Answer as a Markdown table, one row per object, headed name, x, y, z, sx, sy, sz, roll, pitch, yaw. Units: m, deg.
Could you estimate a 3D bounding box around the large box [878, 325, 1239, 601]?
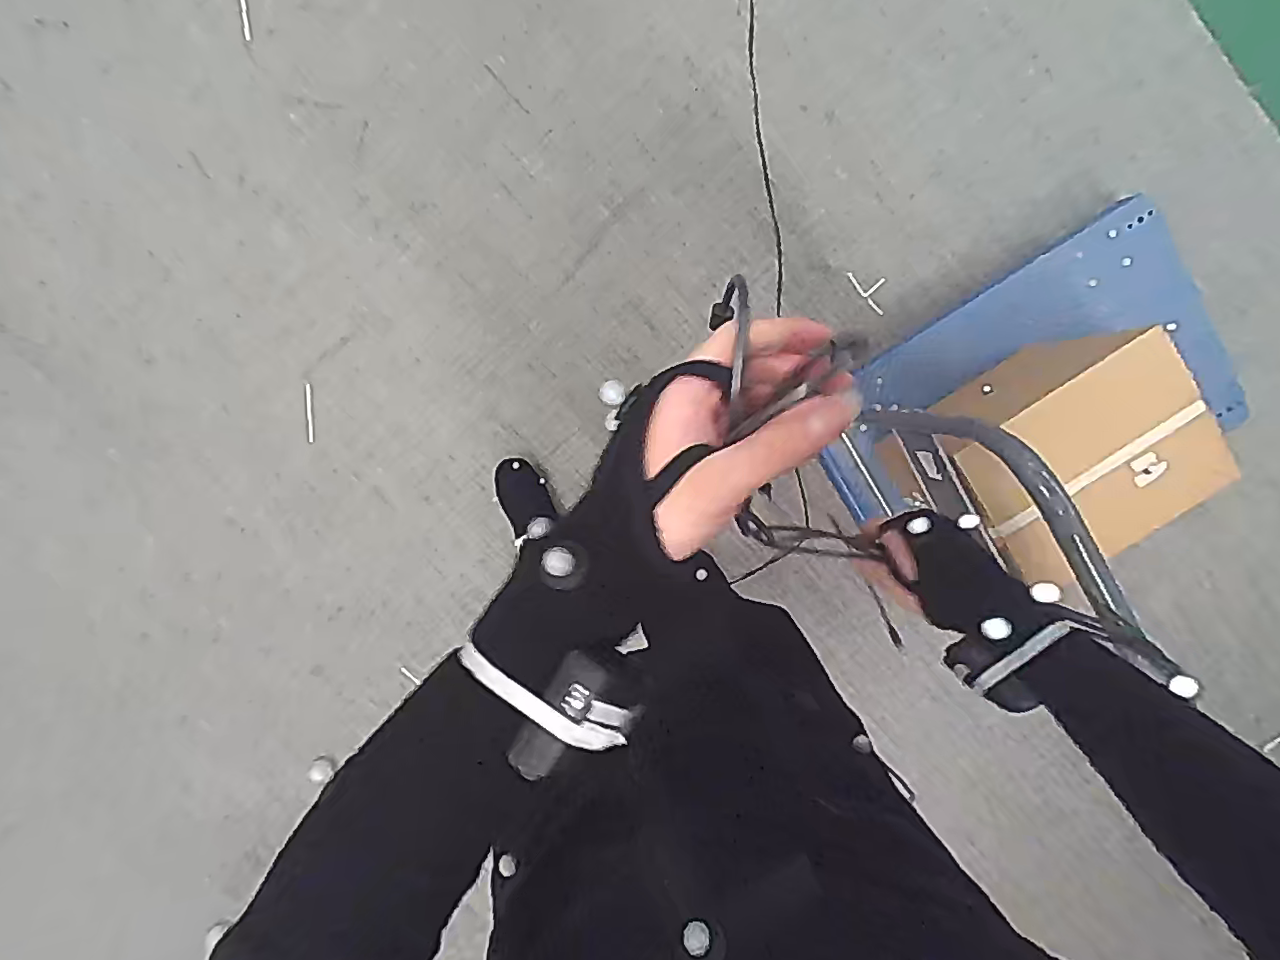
| name | x | y | z | sx | sy | sz | roll | pitch | yaw |
| --- | --- | --- | --- | --- | --- | --- | --- | --- | --- |
| large box | 0.772 | -0.038 | 1.061 | 0.408 | 0.320 | 0.320 | -34 | 97 | 3 |
